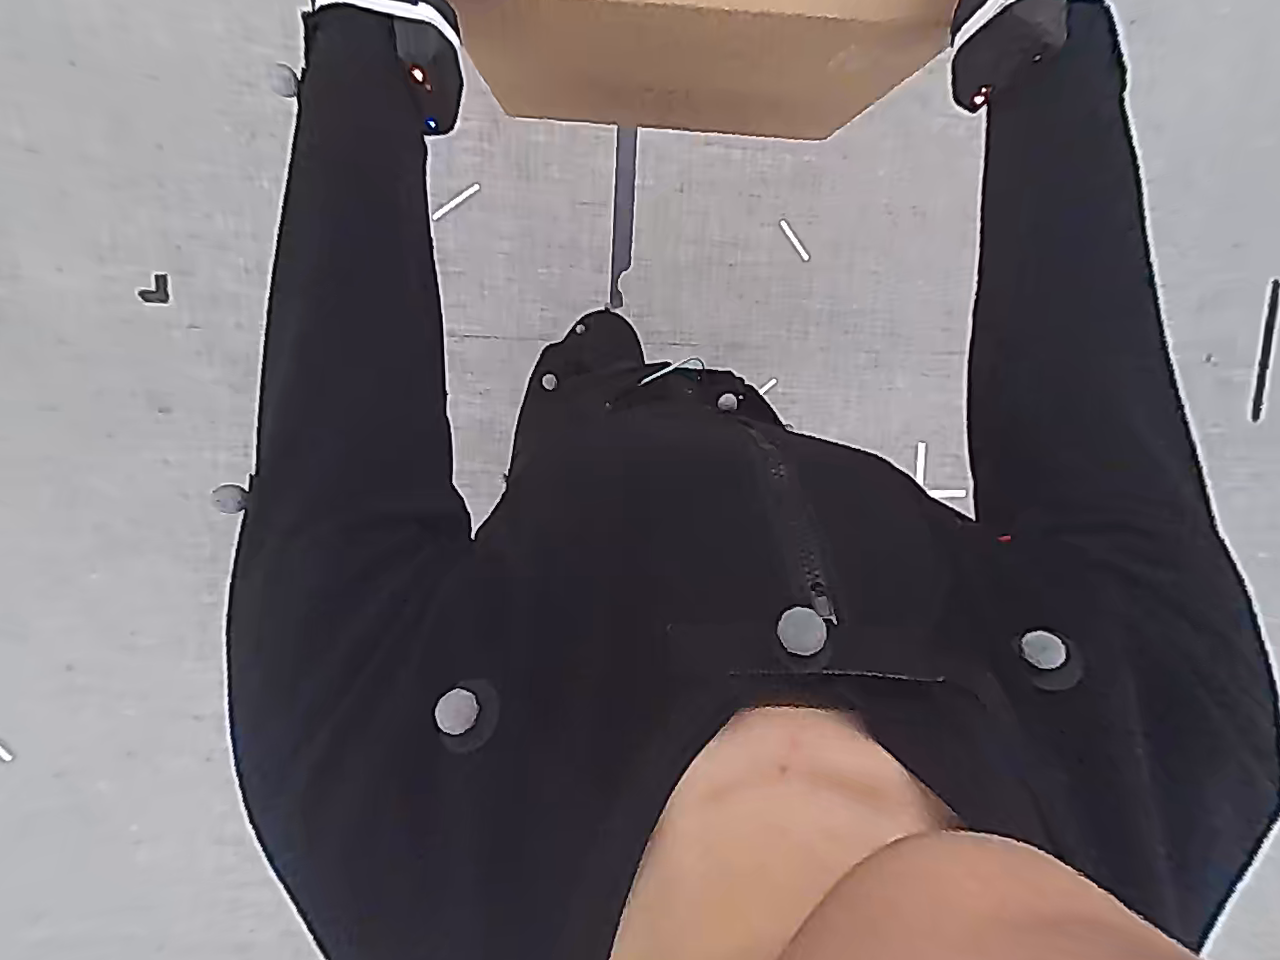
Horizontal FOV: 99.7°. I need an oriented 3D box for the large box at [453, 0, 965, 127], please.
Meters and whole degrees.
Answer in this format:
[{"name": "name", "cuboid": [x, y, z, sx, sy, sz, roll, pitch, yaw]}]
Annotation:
[{"name": "large box", "cuboid": [0.046, -0.549, 0.489, 0.408, 0.320, 0.320, 2, 109, -4]}]
